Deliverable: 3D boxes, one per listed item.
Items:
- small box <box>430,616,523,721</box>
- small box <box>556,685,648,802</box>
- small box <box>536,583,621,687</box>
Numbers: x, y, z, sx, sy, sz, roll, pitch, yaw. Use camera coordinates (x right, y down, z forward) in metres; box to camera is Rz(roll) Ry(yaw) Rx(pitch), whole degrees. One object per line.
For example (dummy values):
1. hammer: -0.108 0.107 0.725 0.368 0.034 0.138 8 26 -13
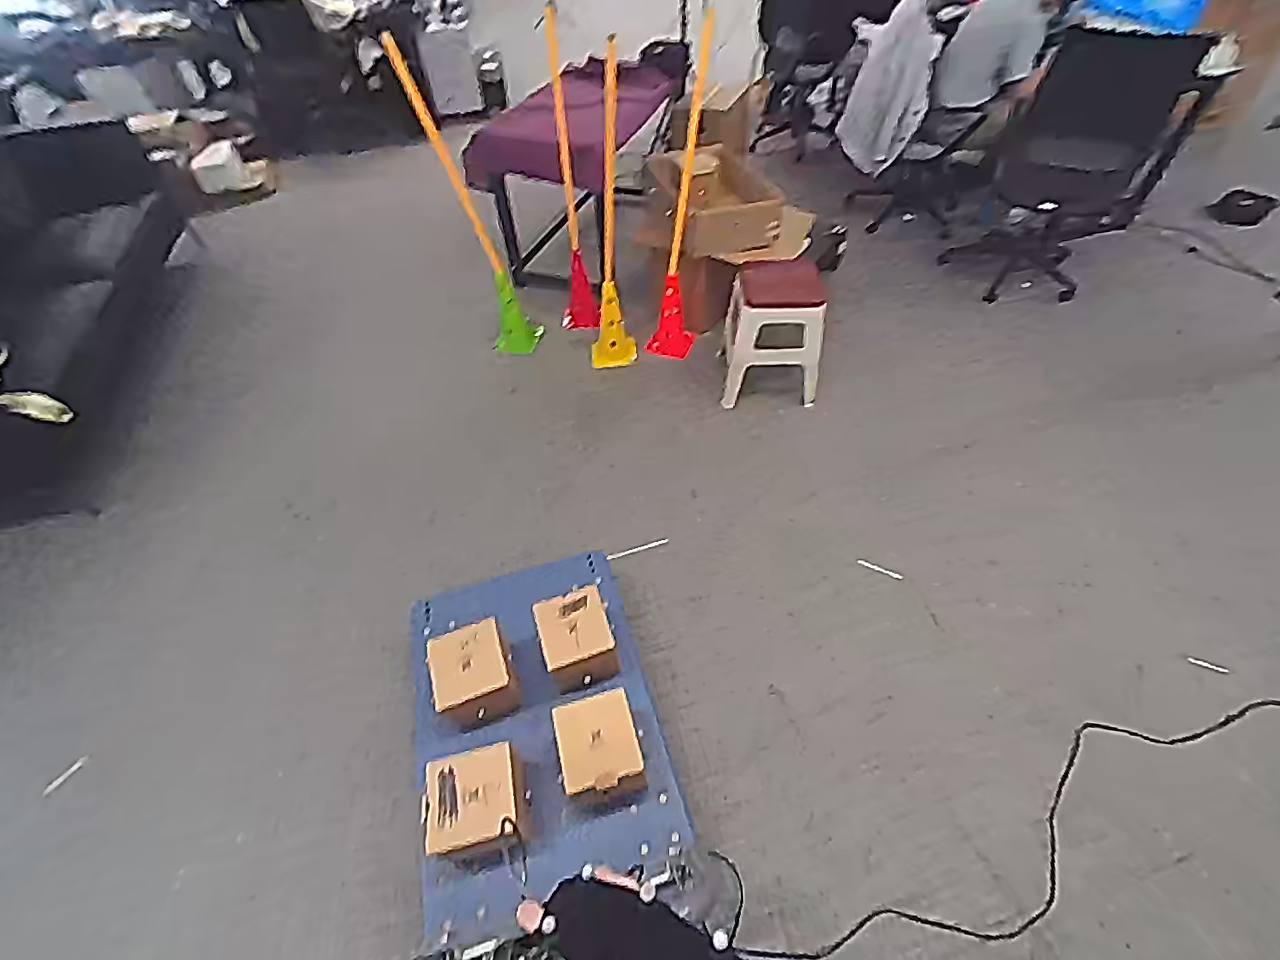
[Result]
1. small box: -0.396 0.468 1.325 0.168 0.176 0.179 -18 52 -12
2. small box: -0.083 0.591 1.209 0.168 0.176 0.179 -14 52 -8
3. small box: -0.153 0.395 1.370 0.168 0.176 0.179 -17 53 -9
